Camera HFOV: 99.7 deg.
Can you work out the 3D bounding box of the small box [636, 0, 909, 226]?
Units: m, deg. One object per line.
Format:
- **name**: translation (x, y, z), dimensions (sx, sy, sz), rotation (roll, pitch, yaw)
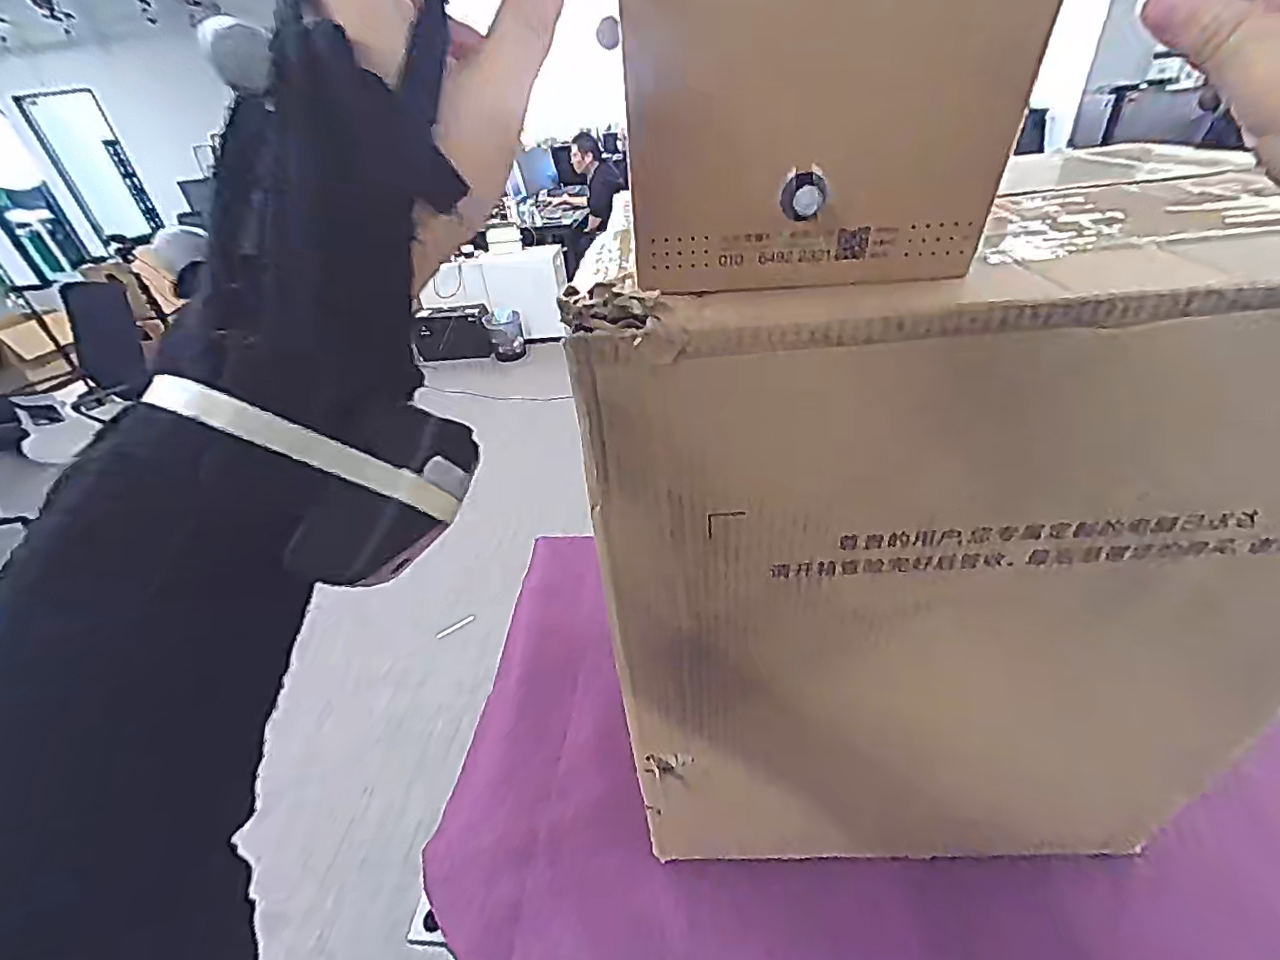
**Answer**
- **small box**: translation (0.089, -0.311, 0.429), dimensions (0.179, 0.176, 0.168), rotation (-3, 35, 3)
